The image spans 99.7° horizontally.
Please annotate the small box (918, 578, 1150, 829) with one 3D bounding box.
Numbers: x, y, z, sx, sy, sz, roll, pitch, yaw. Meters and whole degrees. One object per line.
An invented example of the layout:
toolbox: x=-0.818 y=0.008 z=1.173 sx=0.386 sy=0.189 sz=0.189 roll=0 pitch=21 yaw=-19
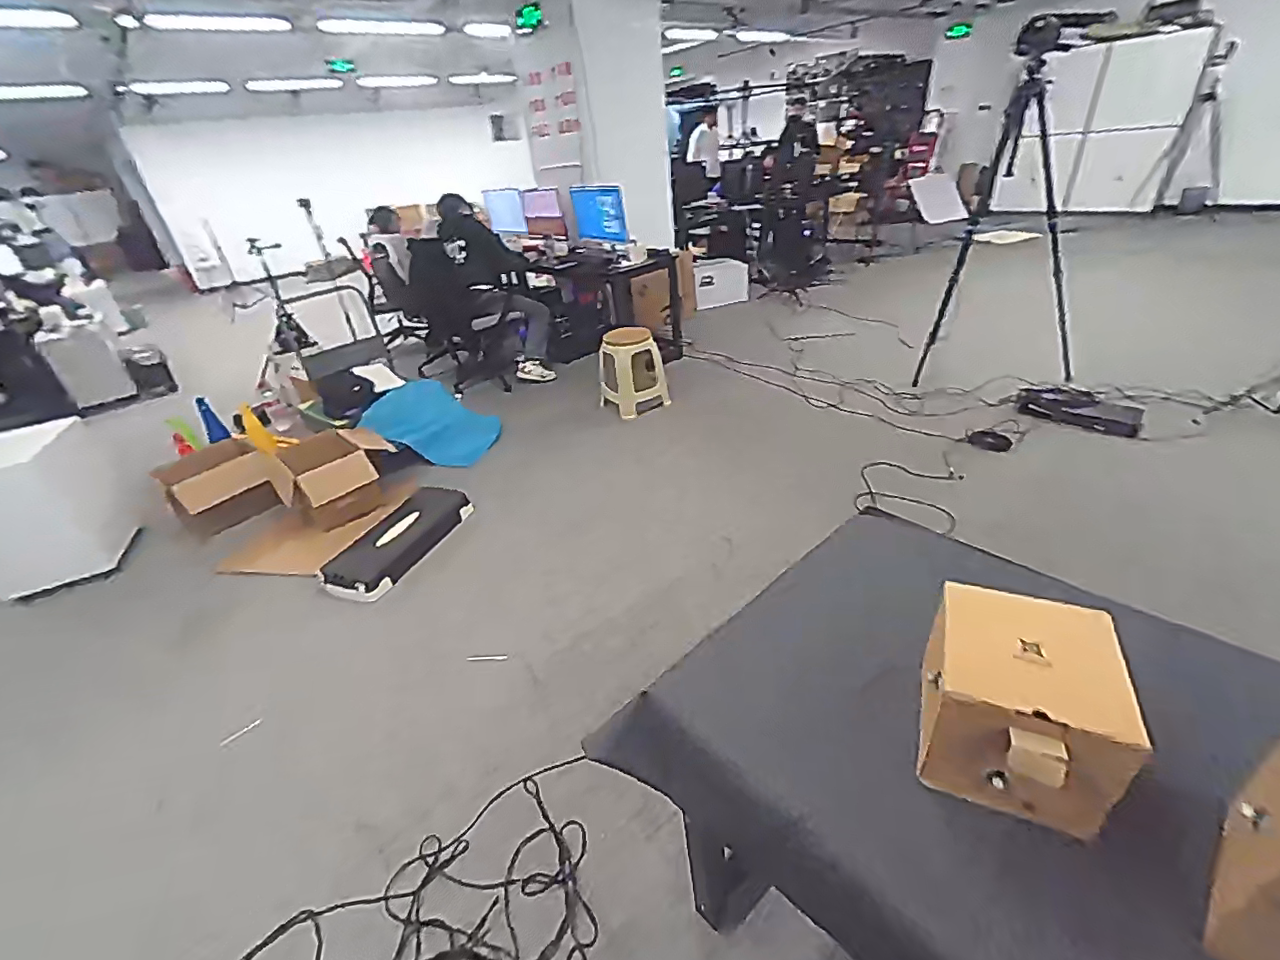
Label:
small box: x=0.425 y=0.247 z=0.619 sx=0.168 sy=0.176 sz=0.179 roll=10 pitch=36 yaw=24
